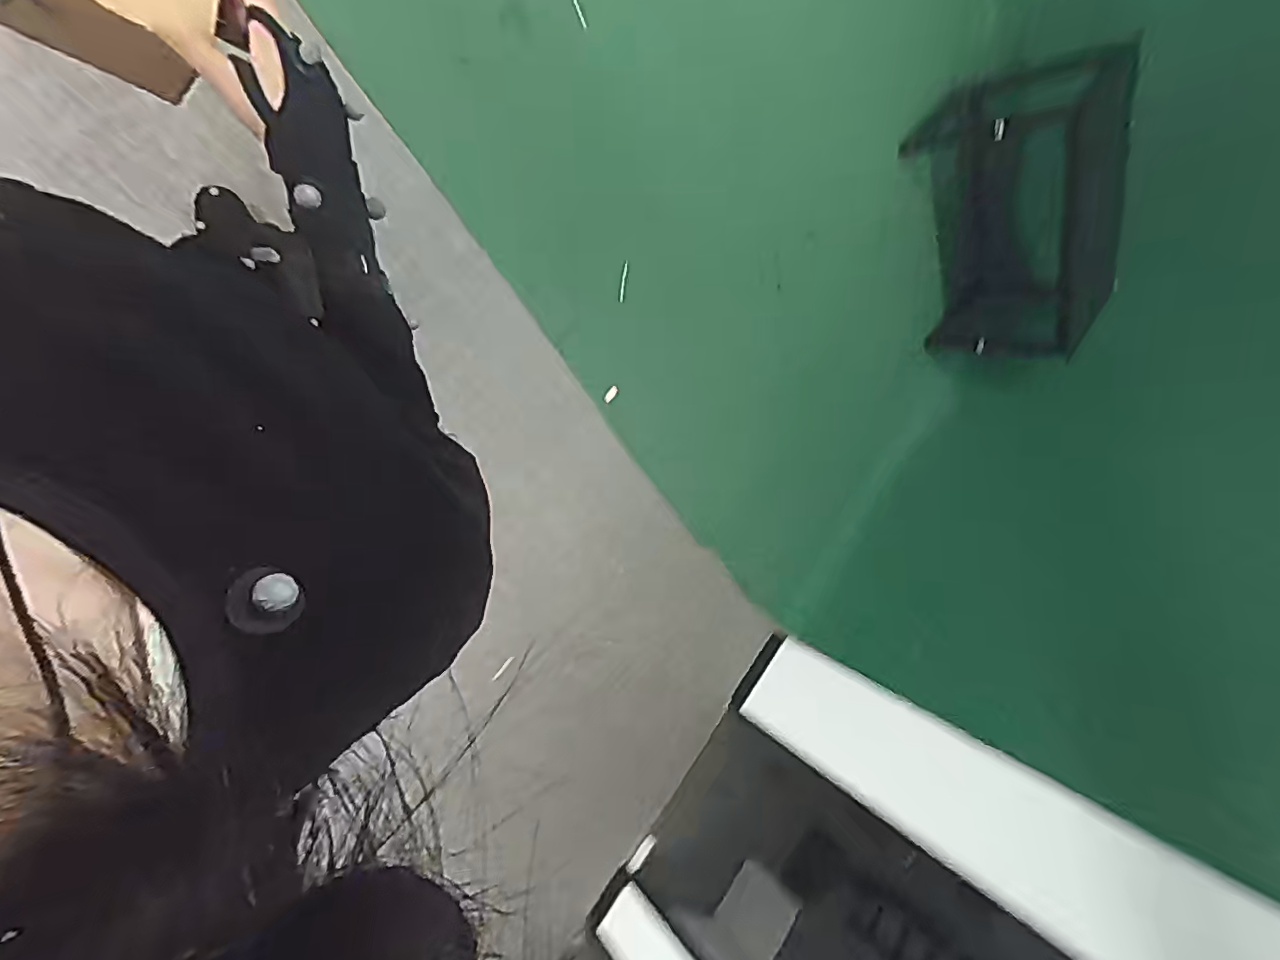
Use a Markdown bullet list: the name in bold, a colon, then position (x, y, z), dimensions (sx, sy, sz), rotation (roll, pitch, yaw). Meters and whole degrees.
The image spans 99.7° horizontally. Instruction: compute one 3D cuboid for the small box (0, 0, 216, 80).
- **small box**: position (-0.380, -0.391, 0.339), dimensions (0.179, 0.176, 0.168), rotation (7, 101, -46)
